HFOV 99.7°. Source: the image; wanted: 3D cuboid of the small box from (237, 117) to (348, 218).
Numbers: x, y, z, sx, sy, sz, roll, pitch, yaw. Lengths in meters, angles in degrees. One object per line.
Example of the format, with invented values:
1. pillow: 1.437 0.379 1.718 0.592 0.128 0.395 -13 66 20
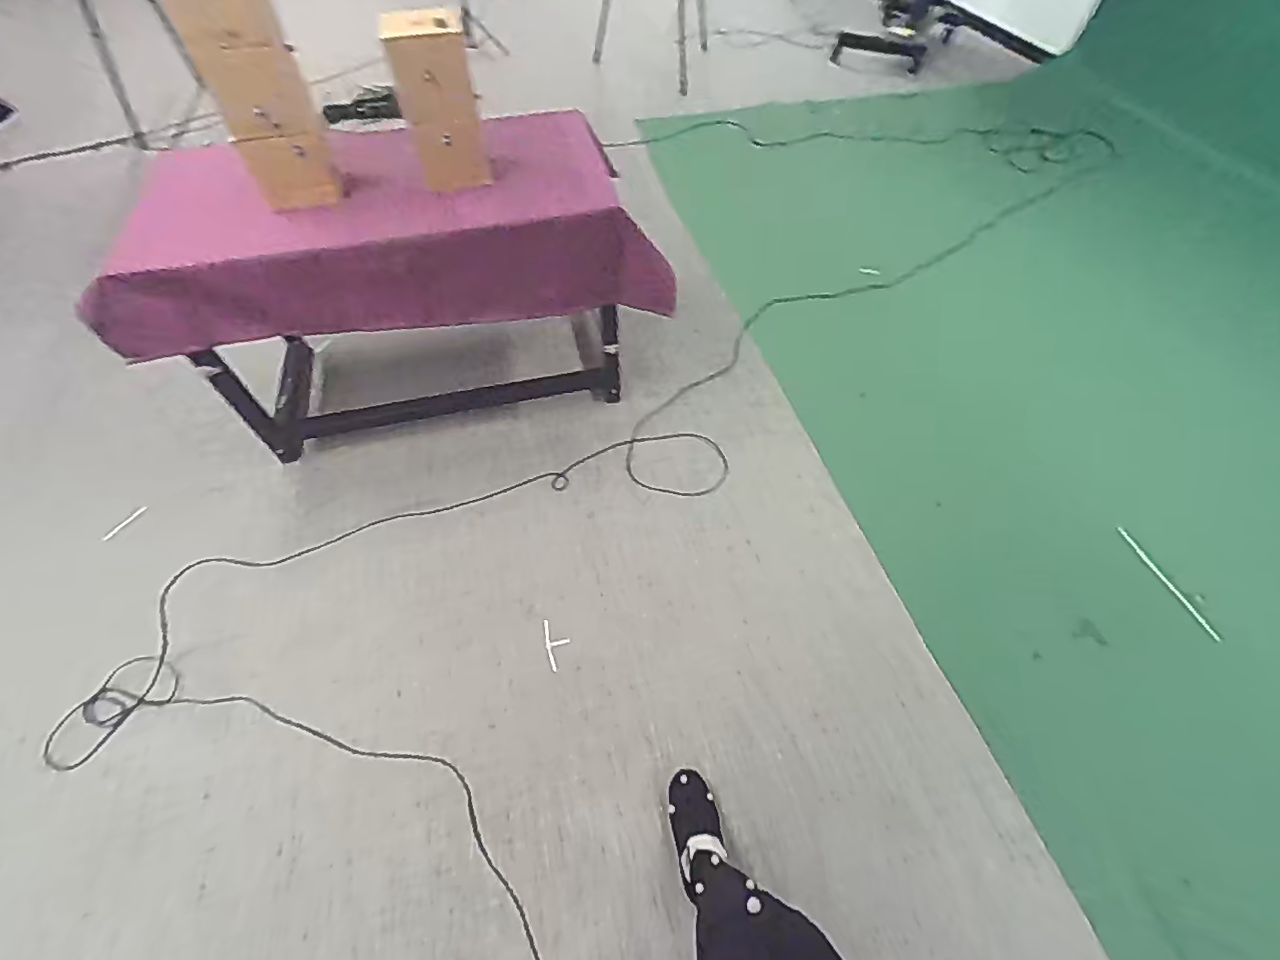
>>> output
1. small box: -0.870 -0.789 1.371 0.179 0.176 0.168 -13 56 -10

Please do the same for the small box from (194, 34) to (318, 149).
1. small box: -0.865 -0.890 1.240 0.168 0.176 0.179 -14 55 -9

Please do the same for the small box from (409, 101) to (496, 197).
1. small box: -0.490 -0.868 1.422 0.179 0.176 0.168 -12 56 -8

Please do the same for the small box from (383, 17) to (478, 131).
1. small box: -0.492 -0.963 1.288 0.179 0.176 0.168 -13 56 -8
